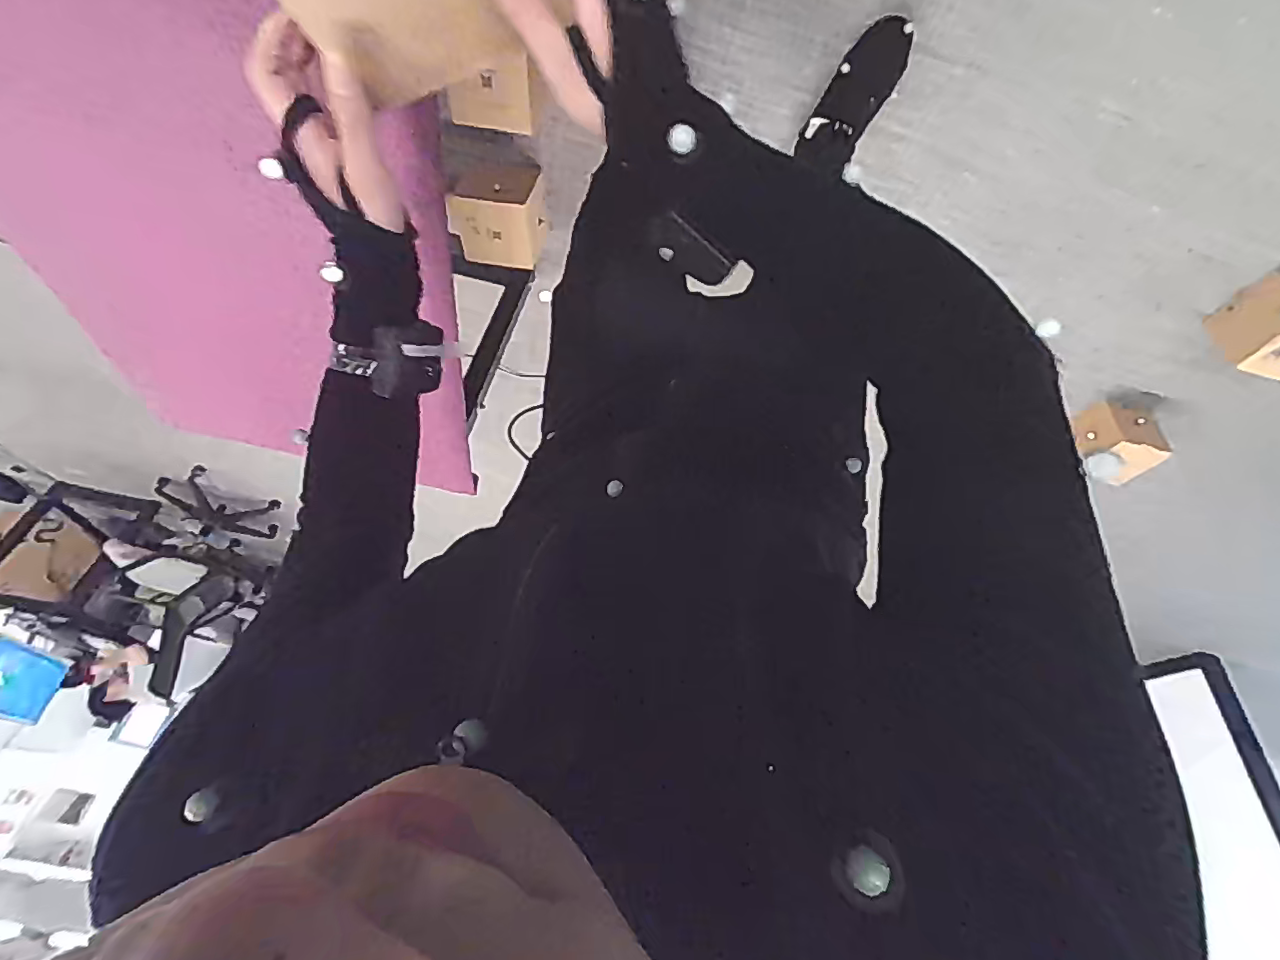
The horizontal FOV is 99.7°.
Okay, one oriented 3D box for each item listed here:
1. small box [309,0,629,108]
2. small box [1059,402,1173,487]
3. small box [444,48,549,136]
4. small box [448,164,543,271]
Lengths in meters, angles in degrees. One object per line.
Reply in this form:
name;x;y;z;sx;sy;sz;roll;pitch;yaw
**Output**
small box;-0.120;-0.369;0.303;0.179;0.176;0.168;-12;159;13
small box;1.416;-0.109;1.626;0.168;0.176;0.179;14;145;-6
small box;-0.279;-0.810;1.048;0.168;0.176;0.179;10;146;1
small box;-0.337;-0.636;1.307;0.179;0.176;0.168;9;145;2
